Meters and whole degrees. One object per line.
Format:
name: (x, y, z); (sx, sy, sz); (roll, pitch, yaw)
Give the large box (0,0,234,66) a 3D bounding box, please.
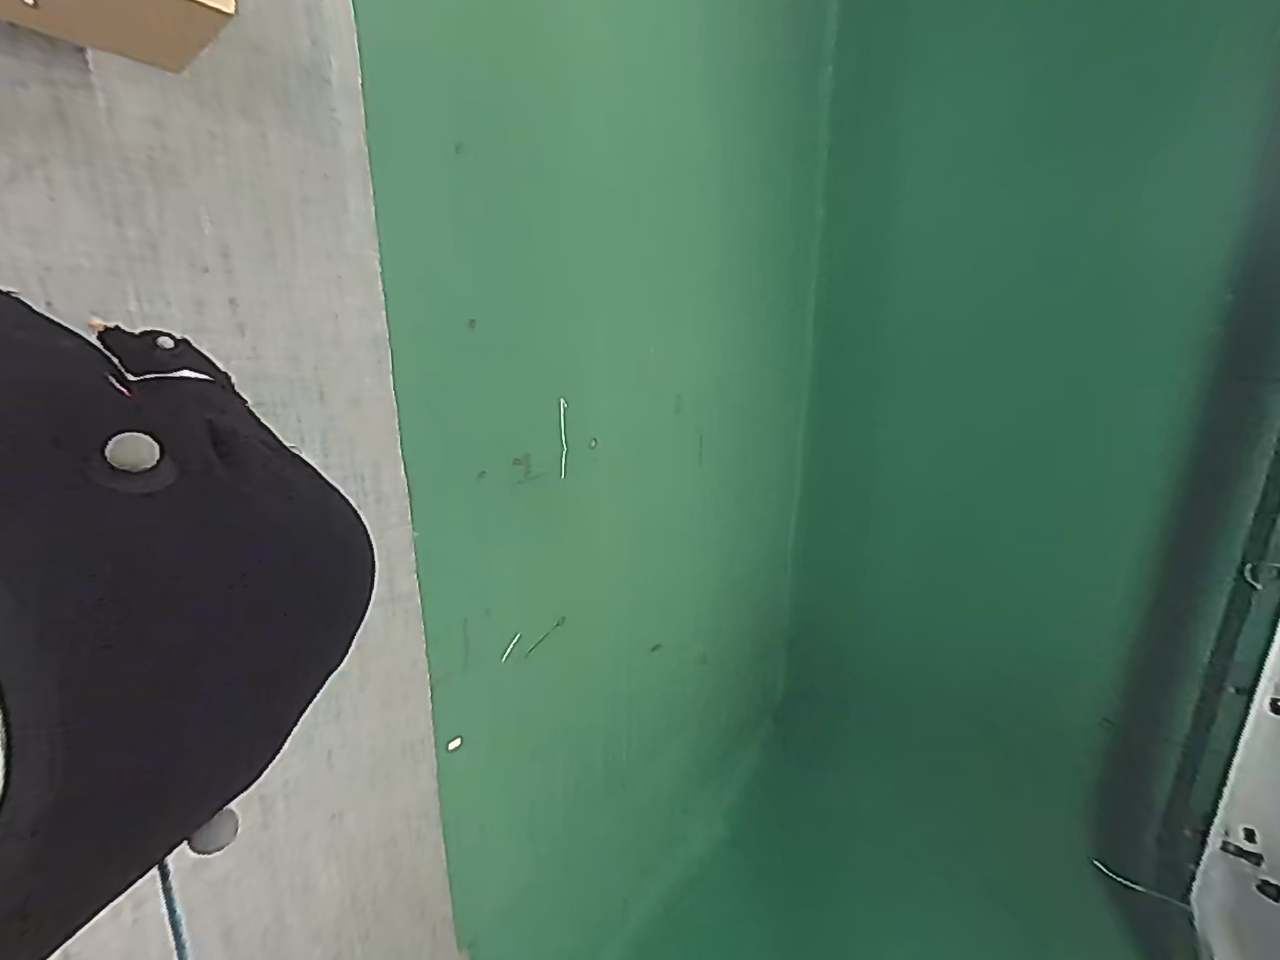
large box: (-0.846, -0.835, 0.716); (0.408, 0.320, 0.320); (-16, 111, -50)
